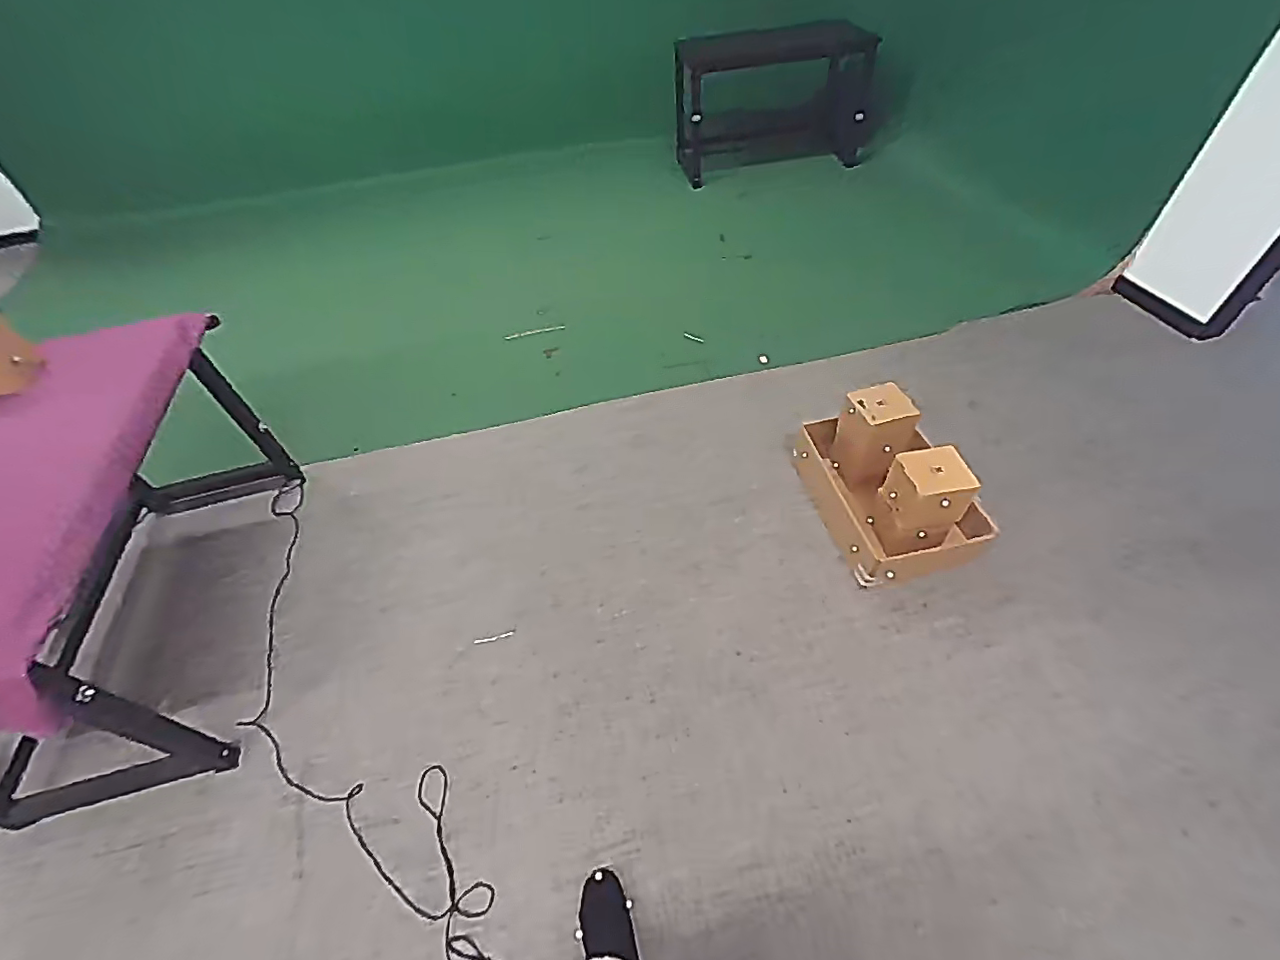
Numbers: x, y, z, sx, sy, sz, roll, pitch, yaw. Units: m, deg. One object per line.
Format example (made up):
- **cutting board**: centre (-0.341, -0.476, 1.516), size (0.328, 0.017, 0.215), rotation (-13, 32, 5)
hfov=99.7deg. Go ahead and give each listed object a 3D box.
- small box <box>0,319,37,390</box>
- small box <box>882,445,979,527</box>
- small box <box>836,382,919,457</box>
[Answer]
- **small box**: centre (-1.851, -0.348, 1.480), size (0.179, 0.176, 0.168), rotation (-11, 52, -6)
- **small box**: centre (0.860, 0.020, 1.620), size (0.179, 0.176, 0.168), rotation (-9, 50, -1)
- **small box**: centre (0.788, -0.201, 1.811), size (0.179, 0.176, 0.168), rotation (-13, 50, -7)
